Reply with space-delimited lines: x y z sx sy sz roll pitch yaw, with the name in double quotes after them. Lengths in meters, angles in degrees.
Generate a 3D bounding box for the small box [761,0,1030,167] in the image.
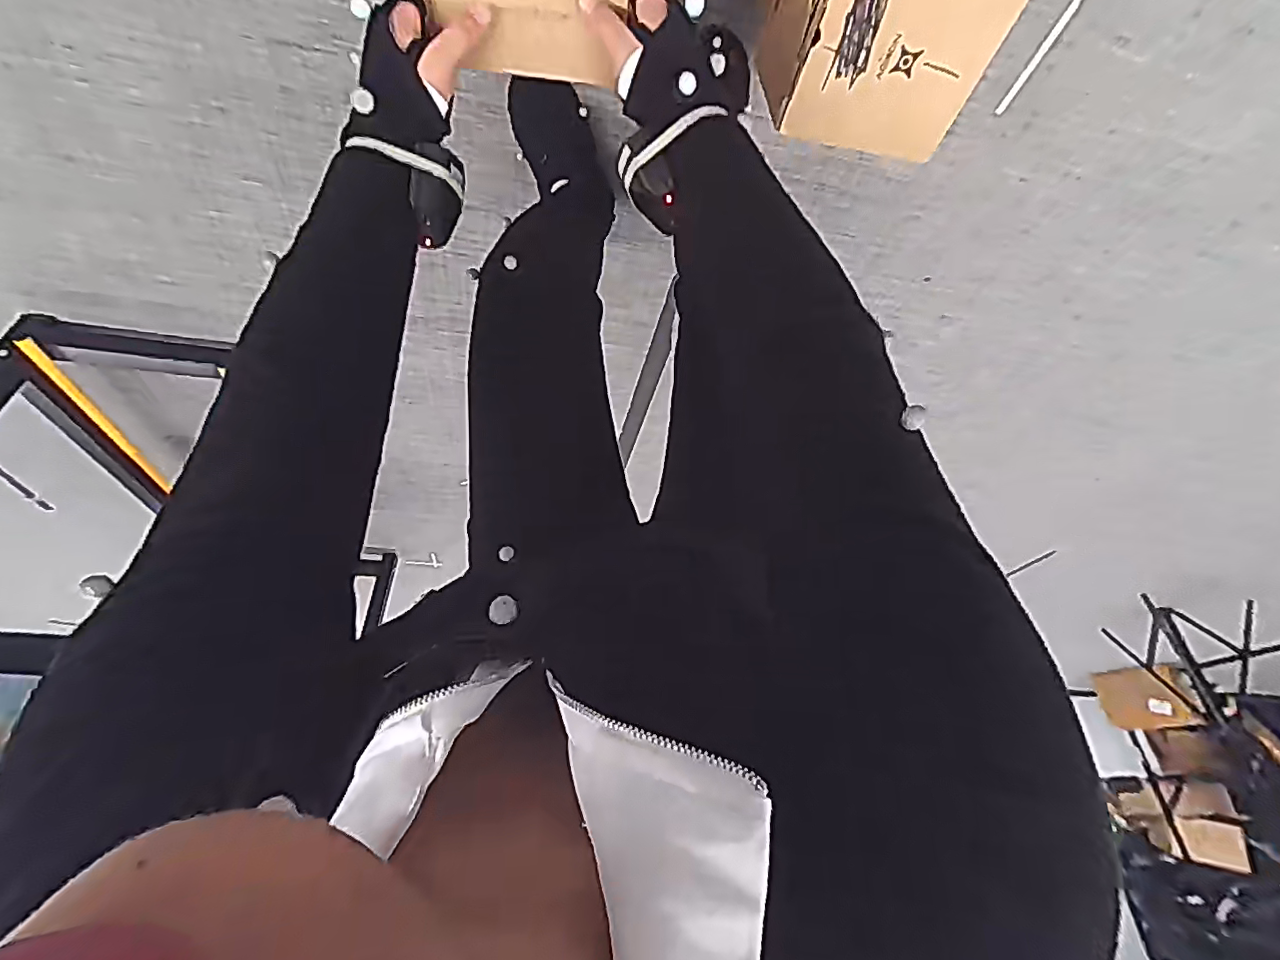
0.237 -0.456 0.544 0.179 0.176 0.168 6 147 -11 "small box"

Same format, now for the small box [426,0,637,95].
-0.082 -0.458 0.450 0.168 0.176 0.179 5 142 -2 "small box"
